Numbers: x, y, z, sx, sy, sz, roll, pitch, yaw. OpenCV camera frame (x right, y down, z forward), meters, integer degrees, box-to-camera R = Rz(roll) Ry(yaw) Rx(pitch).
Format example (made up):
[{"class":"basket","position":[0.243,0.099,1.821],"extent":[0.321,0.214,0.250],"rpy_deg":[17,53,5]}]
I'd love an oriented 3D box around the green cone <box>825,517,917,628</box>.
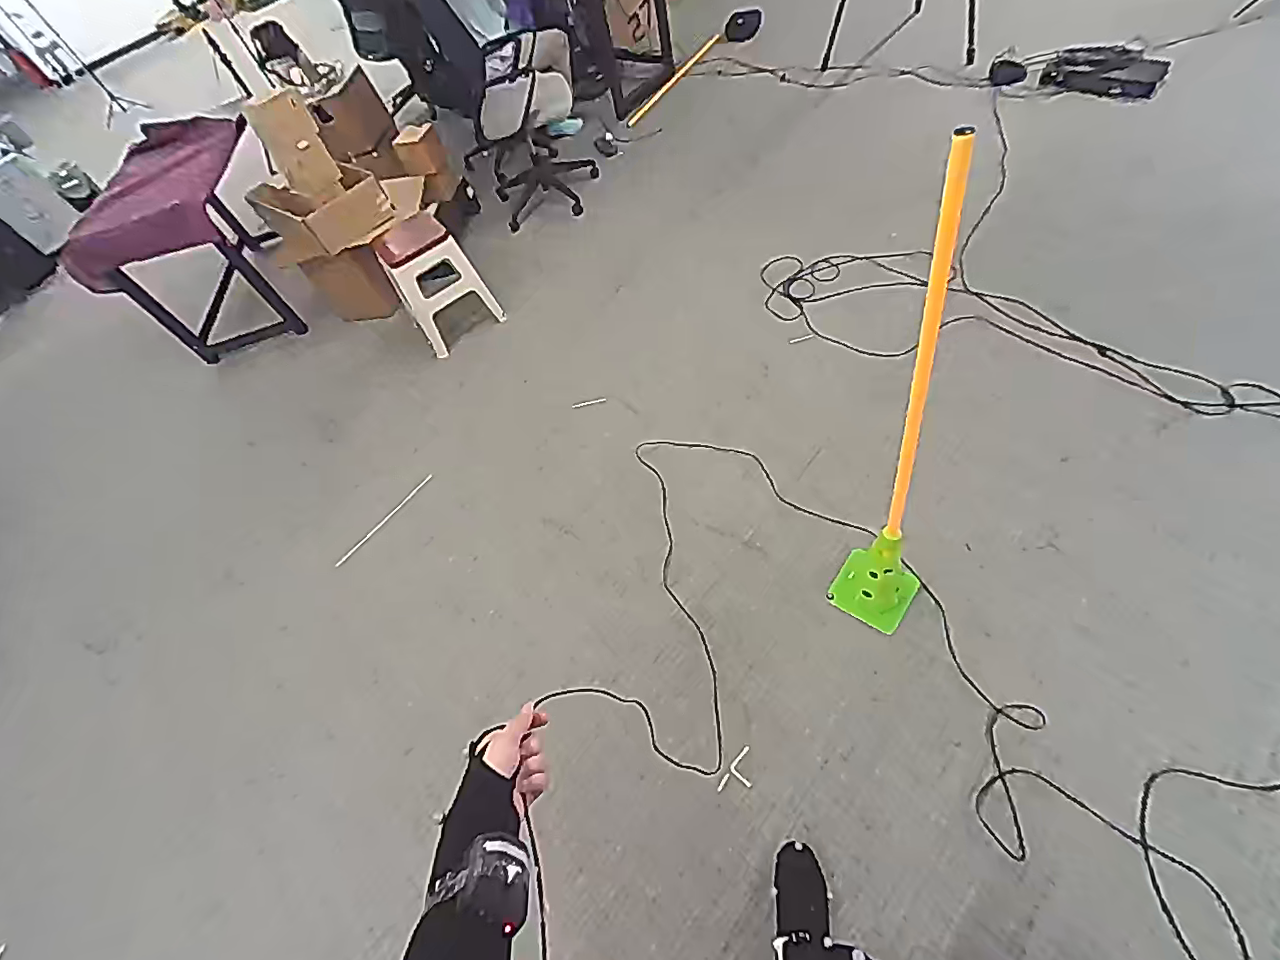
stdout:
[{"class":"green cone","position":[0.627,0.206,1.409],"extent":[0.200,0.368,0.202],"rpy_deg":[28,67,28]}]
